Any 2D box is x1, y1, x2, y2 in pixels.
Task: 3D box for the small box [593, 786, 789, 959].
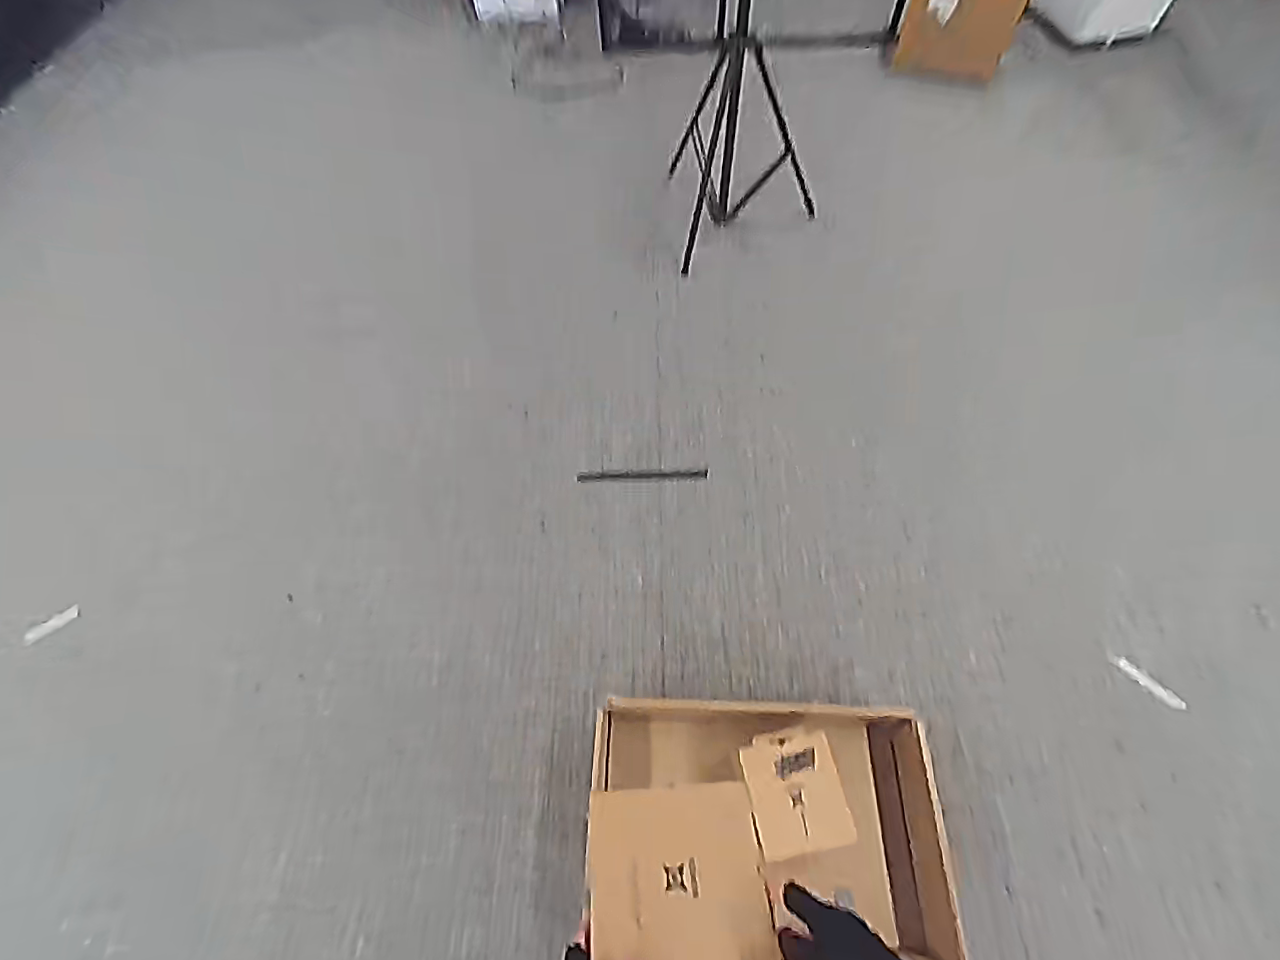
[{"bbox_3d":[0.042,0.447,0.574,0.179,0.176,0.168,-3,42,-3],"label":"small box"}]
